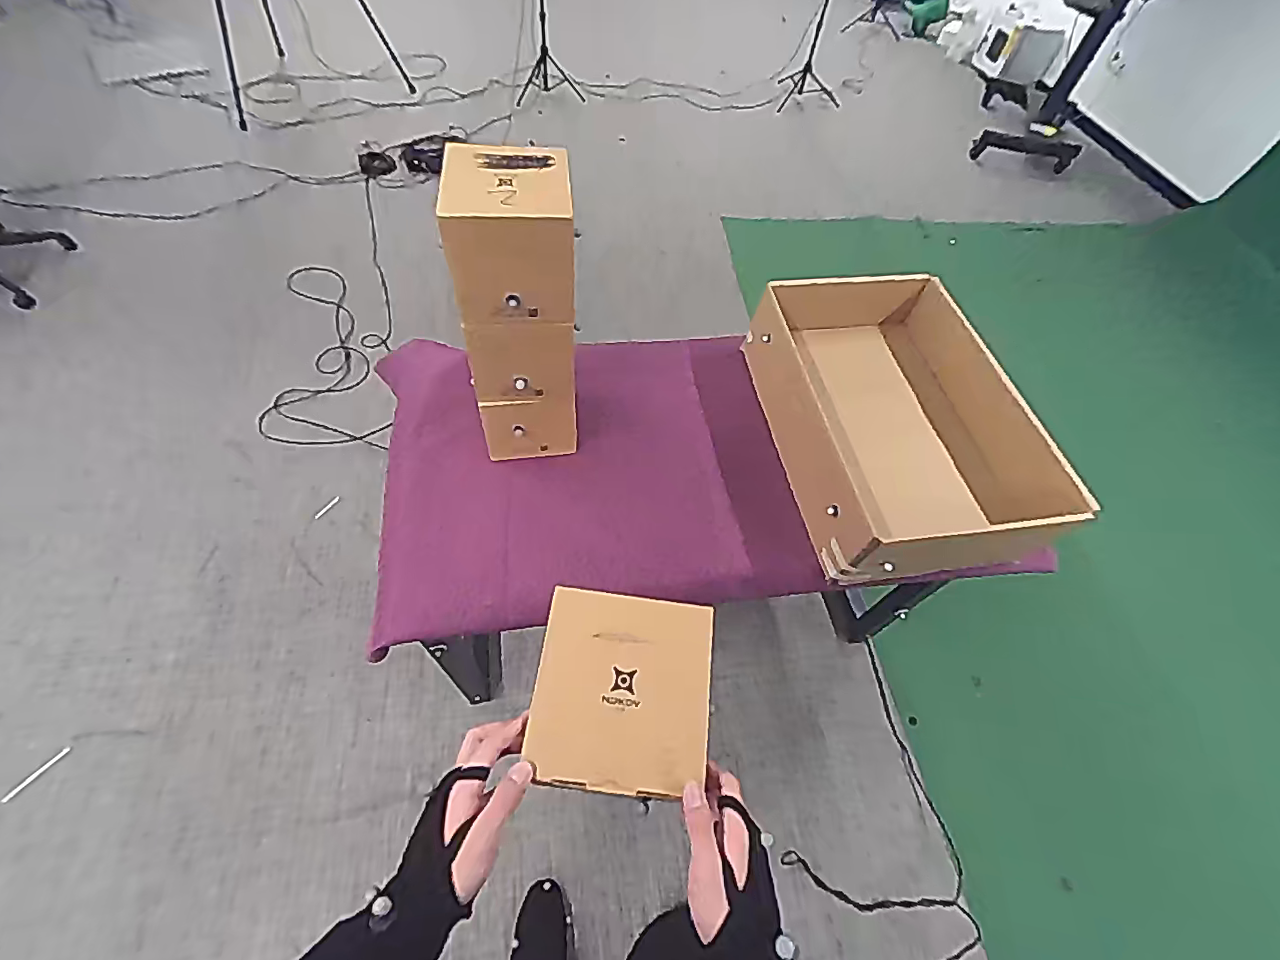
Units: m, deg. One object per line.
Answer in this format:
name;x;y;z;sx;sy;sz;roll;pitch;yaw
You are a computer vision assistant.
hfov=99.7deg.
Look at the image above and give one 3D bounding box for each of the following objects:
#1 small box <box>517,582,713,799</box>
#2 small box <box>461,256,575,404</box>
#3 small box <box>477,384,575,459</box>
small box;-0.023;0.230;0.577;0.168;0.176;0.179;9;58;-1
small box;-0.195;-0.248;0.905;0.168;0.176;0.179;-2;57;-7
small box;-0.216;-0.153;1.038;0.168;0.176;0.179;-6;56;-10
